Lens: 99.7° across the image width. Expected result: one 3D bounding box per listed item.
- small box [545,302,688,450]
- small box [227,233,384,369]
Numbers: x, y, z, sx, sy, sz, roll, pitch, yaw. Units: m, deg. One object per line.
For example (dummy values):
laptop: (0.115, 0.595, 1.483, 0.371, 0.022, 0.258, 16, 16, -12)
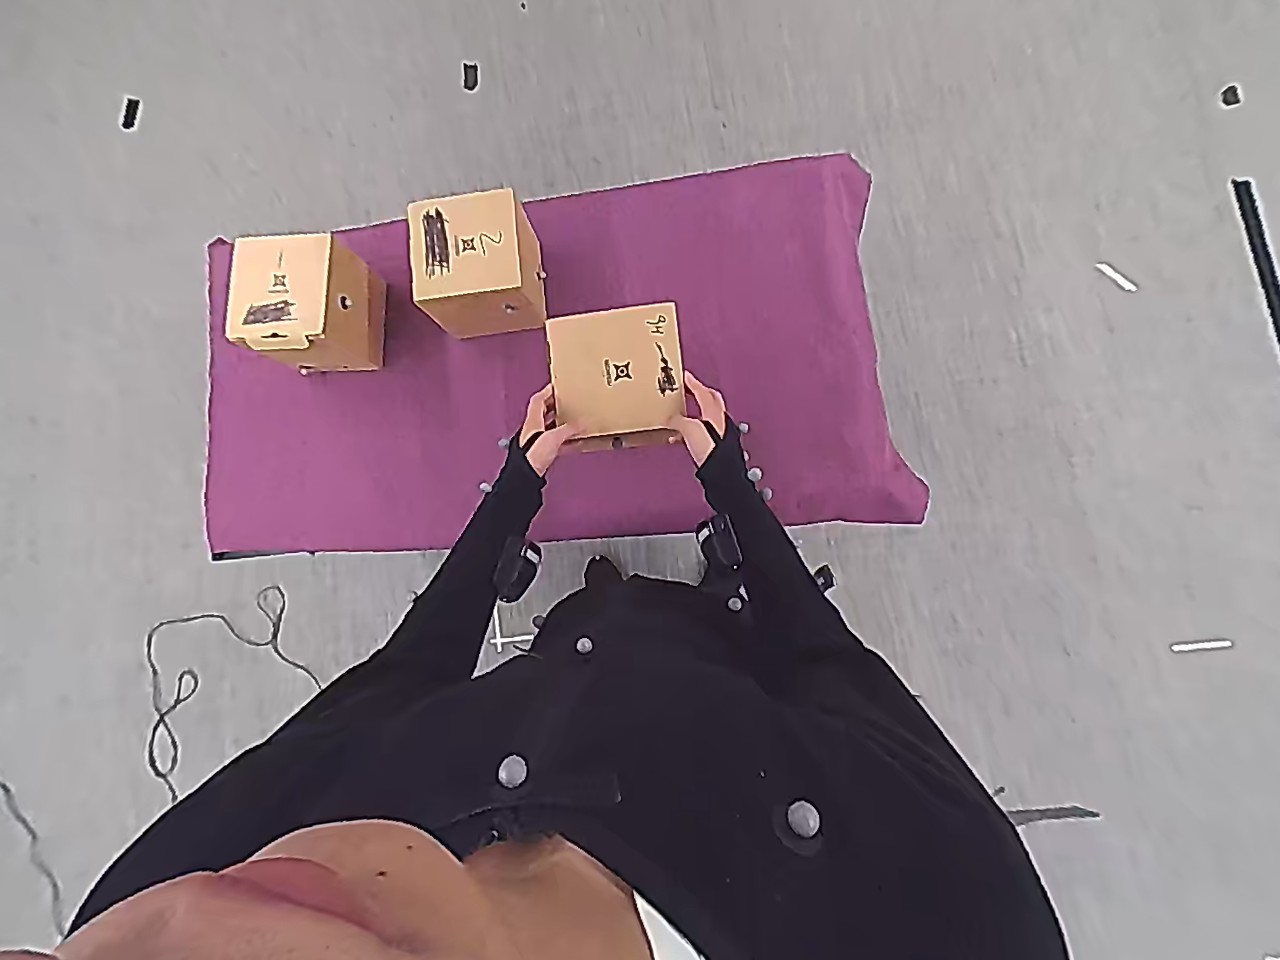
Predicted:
small box: (-0.025, -0.137, 0.779, 0.179, 0.176, 0.168, -6, 88, 5)
small box: (-0.565, -0.297, 0.934, 0.168, 0.176, 0.179, -1, 83, 4)
